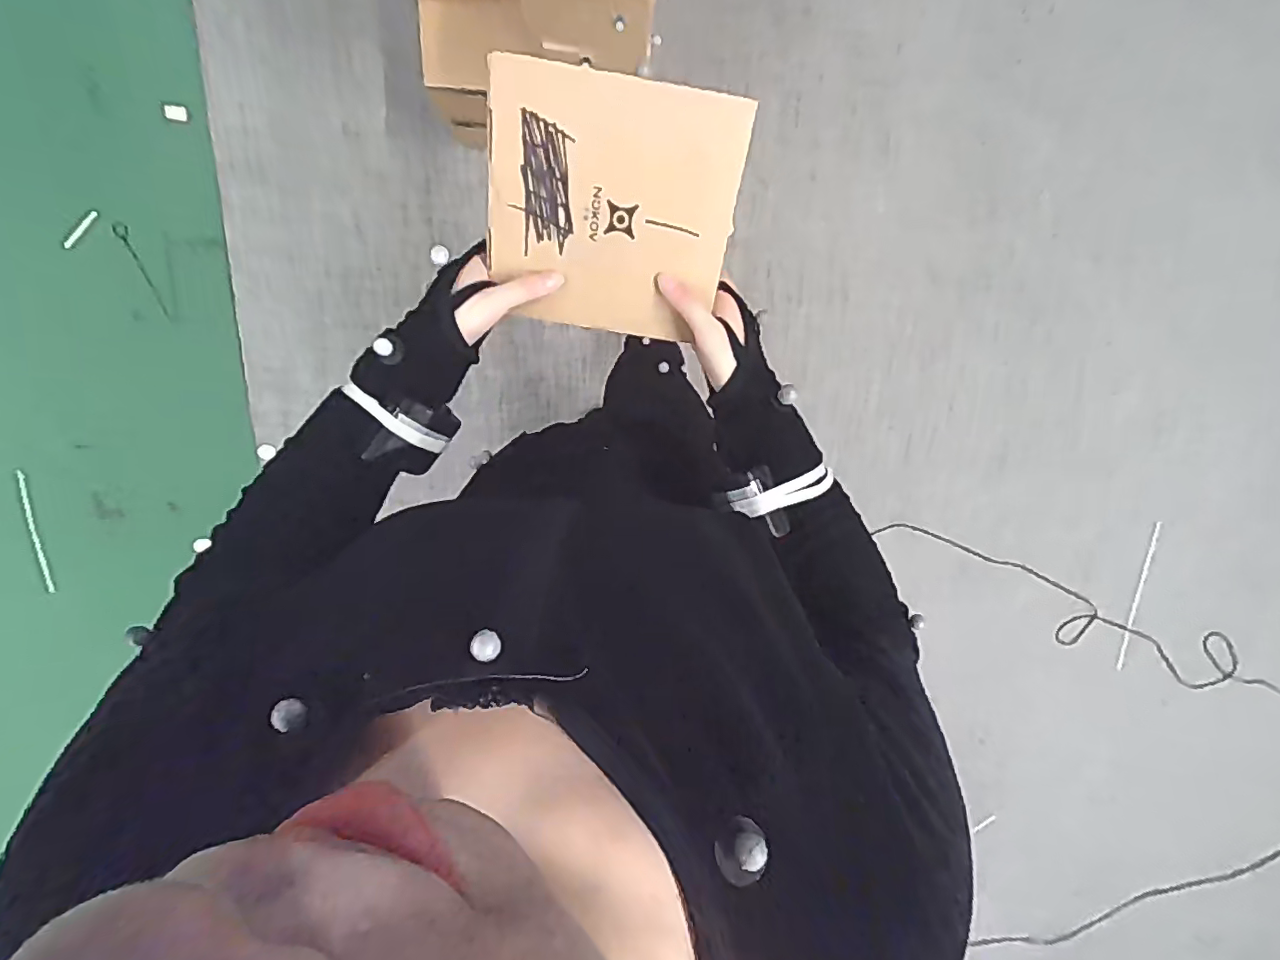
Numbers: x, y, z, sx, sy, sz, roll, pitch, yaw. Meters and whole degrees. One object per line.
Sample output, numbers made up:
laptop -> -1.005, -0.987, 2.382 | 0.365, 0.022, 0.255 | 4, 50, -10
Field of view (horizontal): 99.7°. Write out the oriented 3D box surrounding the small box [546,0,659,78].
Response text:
small box -> -0.057, -0.741, 0.889 | 0.168, 0.176, 0.179 | 5, 103, -2

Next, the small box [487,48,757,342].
small box -> -0.019, -0.234, 0.458 | 0.179, 0.176, 0.168 | 9, 121, -4
